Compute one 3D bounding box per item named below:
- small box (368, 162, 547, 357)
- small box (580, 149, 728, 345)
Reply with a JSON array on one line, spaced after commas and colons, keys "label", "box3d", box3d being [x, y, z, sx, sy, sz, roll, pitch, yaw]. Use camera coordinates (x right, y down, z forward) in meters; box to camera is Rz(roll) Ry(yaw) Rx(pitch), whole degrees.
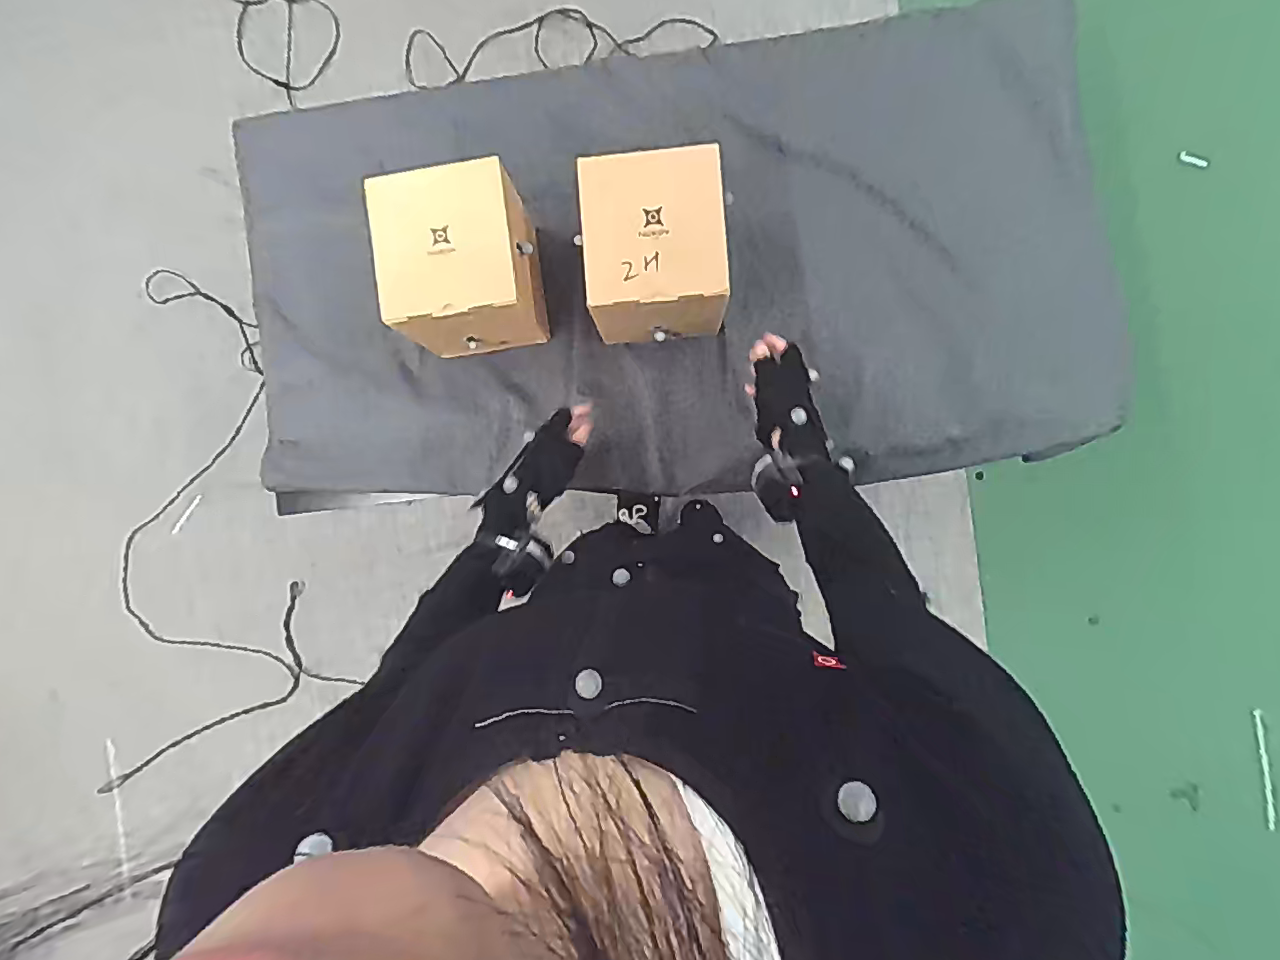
[{"label": "small box", "box3d": [-0.228, -0.277, 0.715, 0.168, 0.176, 0.179, -8, 89, 3]}, {"label": "small box", "box3d": [0.019, -0.287, 0.699, 0.168, 0.176, 0.179, -4, 89, 3]}]
